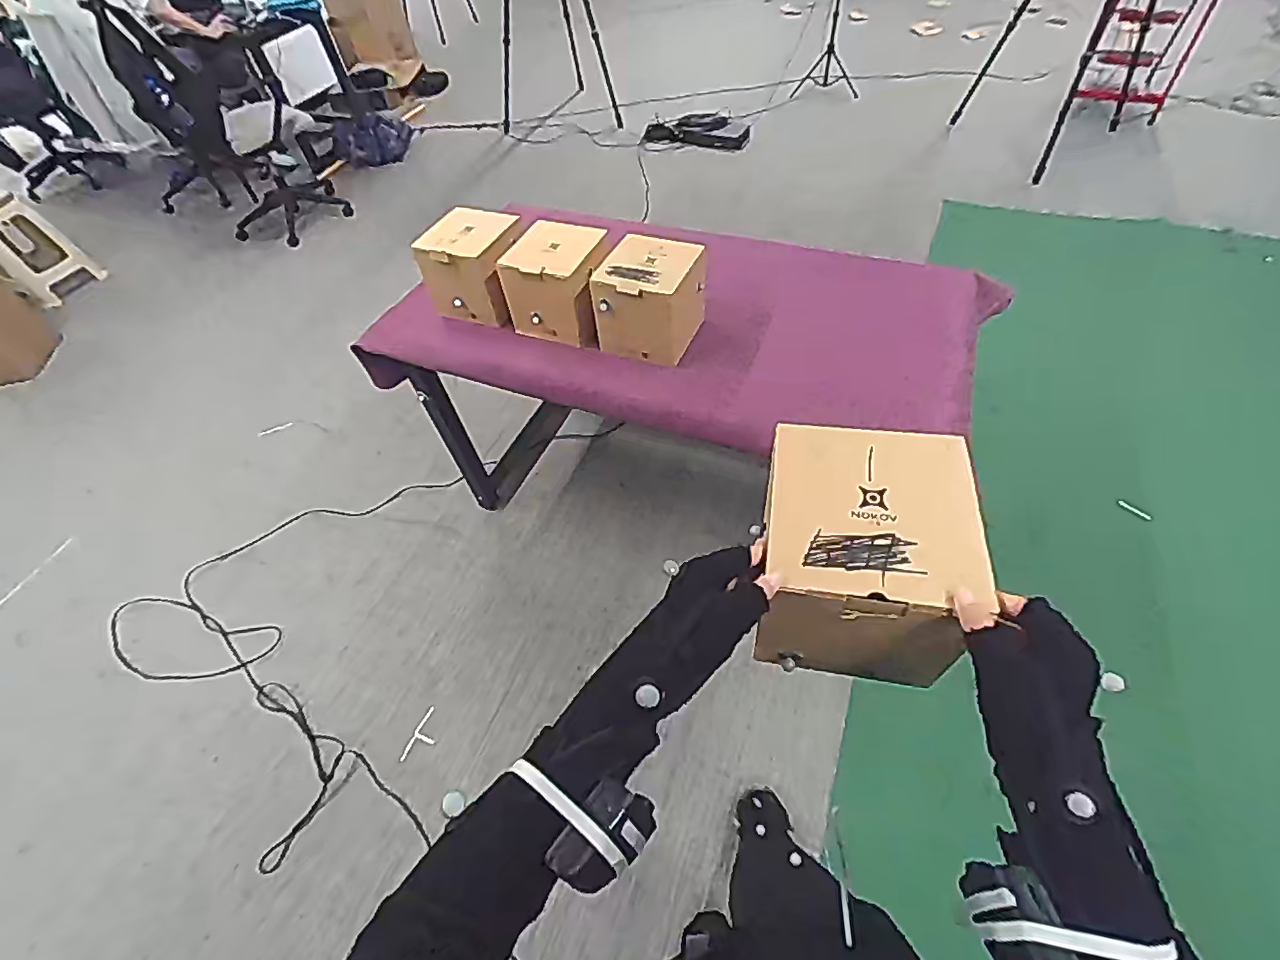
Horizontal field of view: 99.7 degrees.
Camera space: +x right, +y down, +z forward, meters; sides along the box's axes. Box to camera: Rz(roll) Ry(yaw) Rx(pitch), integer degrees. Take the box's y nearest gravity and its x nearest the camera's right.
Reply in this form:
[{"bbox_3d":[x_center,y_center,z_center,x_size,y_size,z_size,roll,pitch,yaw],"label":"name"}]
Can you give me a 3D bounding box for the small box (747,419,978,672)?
[{"bbox_3d":[0.196,0.066,0.521,0.168,0.176,0.179,6,53,12],"label":"small box"}]
